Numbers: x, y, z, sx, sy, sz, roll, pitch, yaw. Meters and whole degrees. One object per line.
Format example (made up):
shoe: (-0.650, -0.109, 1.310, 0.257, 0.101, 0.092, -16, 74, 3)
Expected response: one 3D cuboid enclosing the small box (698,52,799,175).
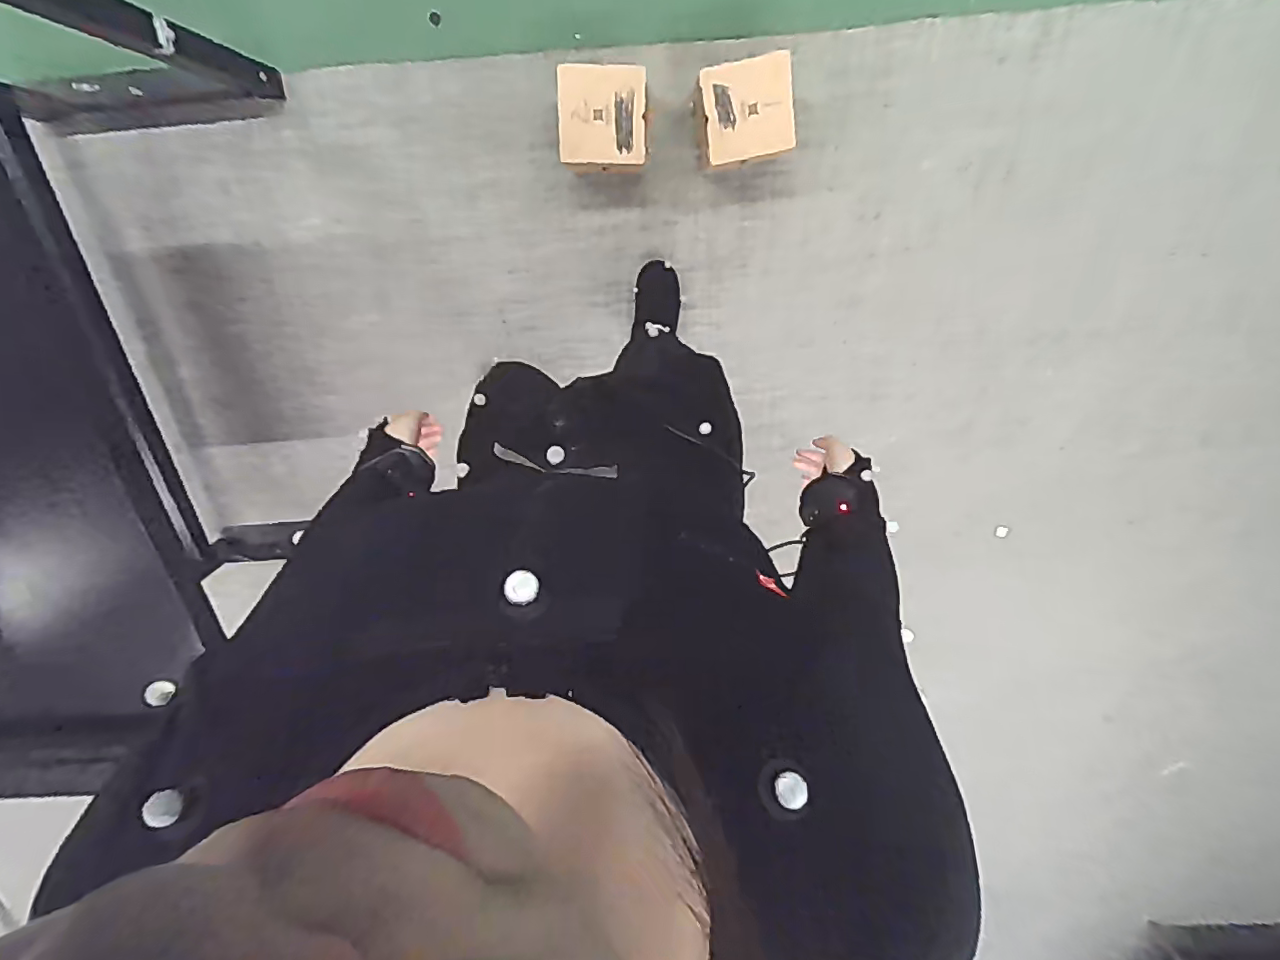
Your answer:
small box: (0.218, -0.742, 1.116, 0.179, 0.176, 0.168, -10, 114, 4)
